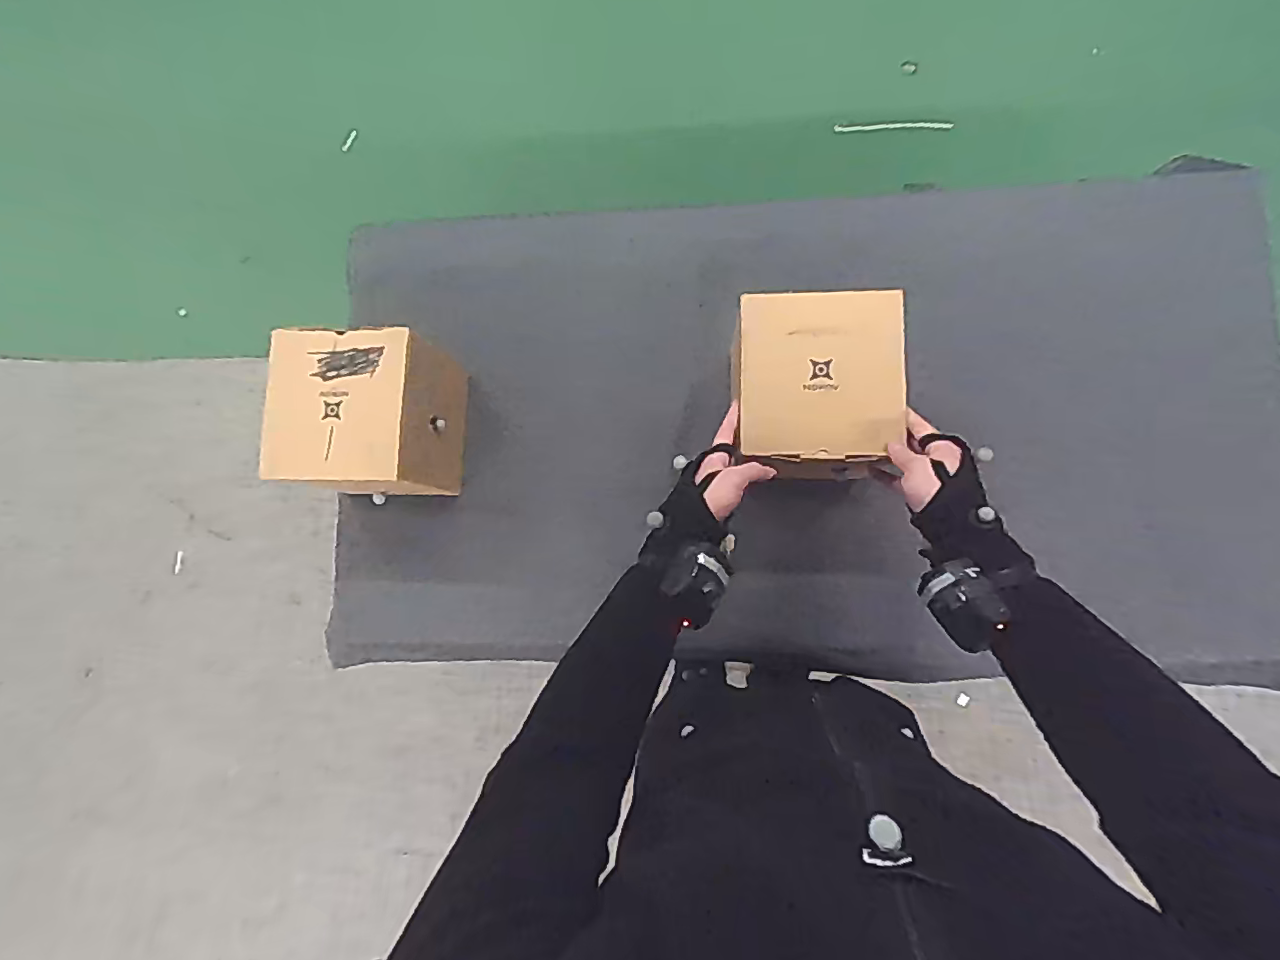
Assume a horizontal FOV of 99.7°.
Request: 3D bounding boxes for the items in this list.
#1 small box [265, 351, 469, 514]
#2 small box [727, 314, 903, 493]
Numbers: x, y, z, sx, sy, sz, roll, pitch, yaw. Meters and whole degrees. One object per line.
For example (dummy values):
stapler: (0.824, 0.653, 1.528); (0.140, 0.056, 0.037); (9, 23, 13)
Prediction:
small box: (-0.329, -0.051, 0.687); (0.168, 0.176, 0.179); (0, 83, 5)
small box: (0.193, -0.078, 0.641); (0.168, 0.176, 0.179); (0, 82, 5)
